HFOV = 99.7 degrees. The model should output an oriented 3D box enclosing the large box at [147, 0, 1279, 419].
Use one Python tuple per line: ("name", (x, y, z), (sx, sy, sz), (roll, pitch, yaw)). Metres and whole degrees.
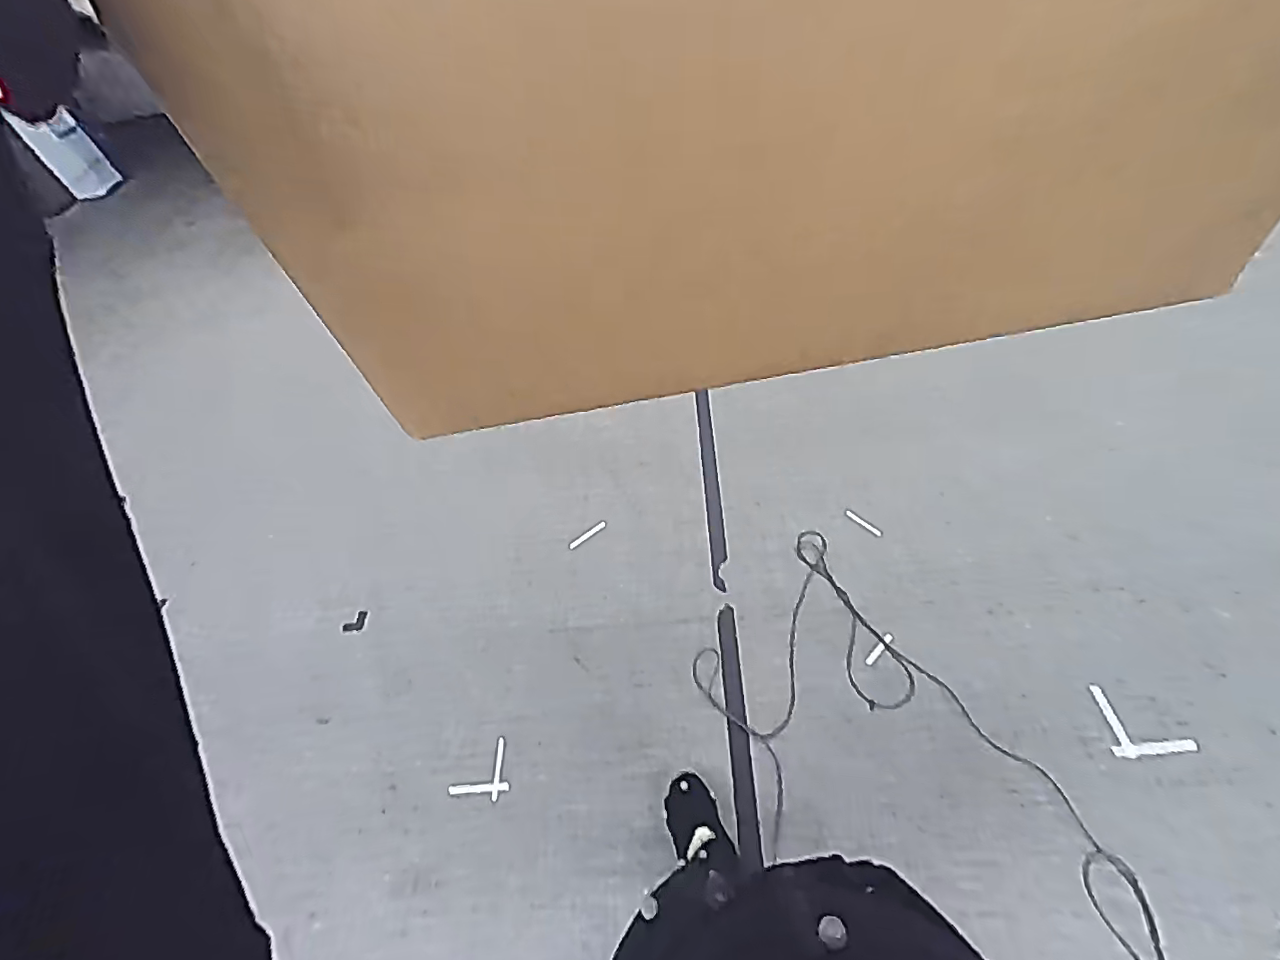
("large box", (0.034, -0.270, 0.270), (0.408, 0.320, 0.320), (-10, 51, 4))
